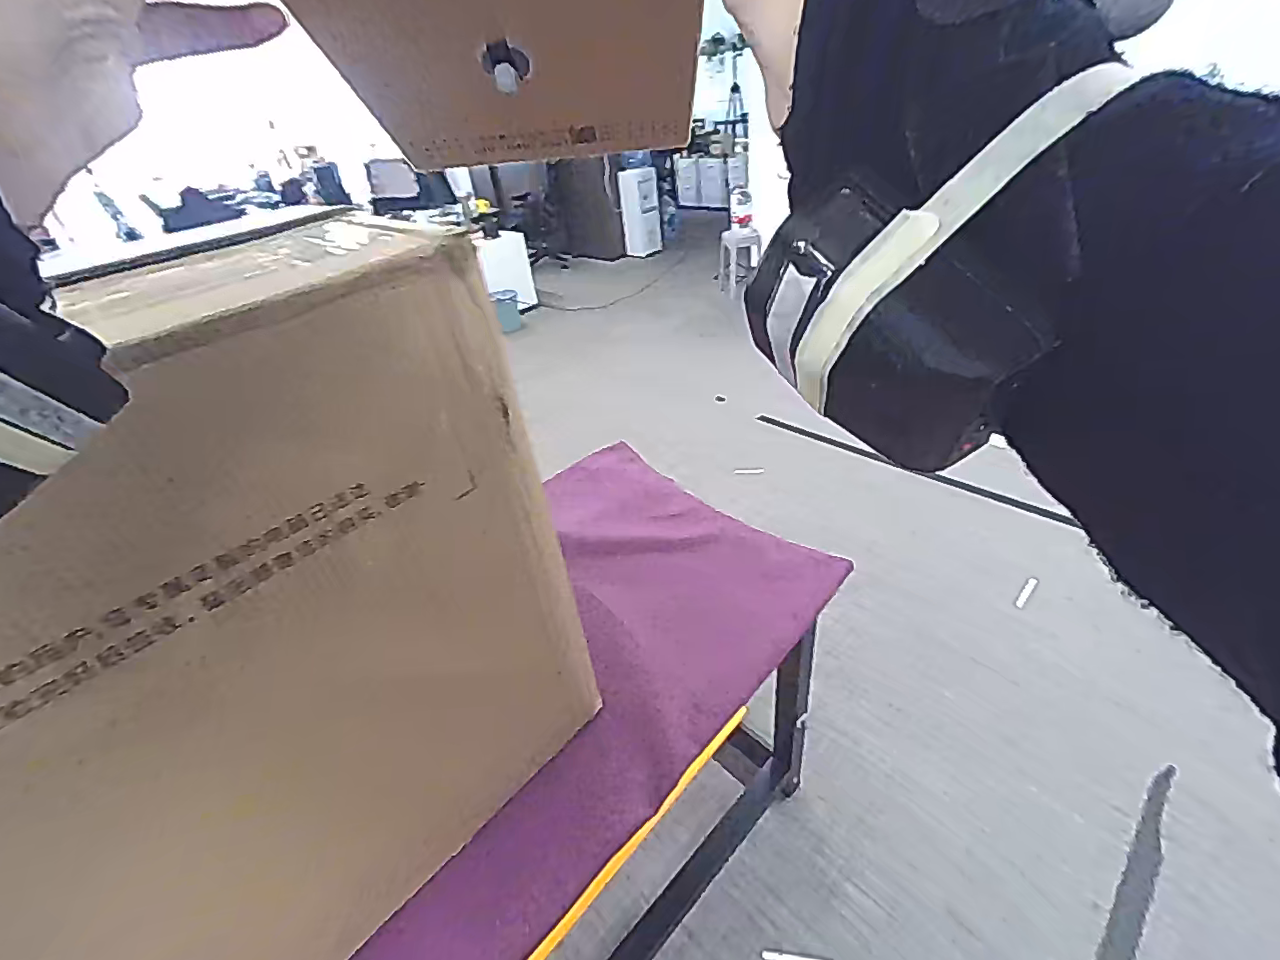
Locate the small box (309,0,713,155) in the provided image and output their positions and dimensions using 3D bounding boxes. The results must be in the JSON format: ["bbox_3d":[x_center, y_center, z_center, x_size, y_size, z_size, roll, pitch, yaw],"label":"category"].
[{"bbox_3d":[-0.053,-0.273,0.241,0.168,0.179,0.176,-4,1,2],"label":"small box"}]
